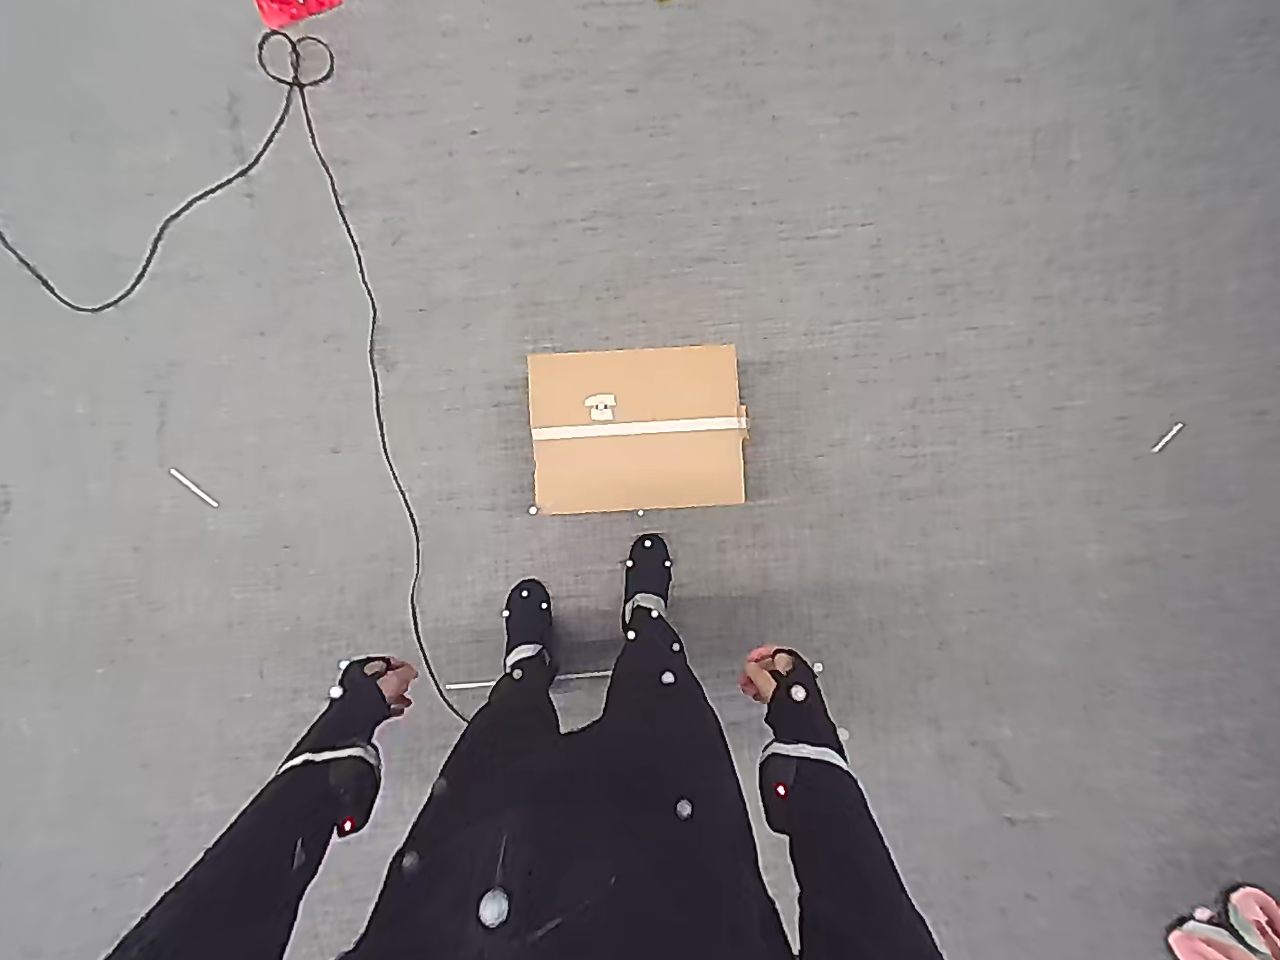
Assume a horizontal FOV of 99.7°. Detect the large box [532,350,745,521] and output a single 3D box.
[{"bbox_3d":[0.000,-0.085,1.198,0.408,0.320,0.320,-3,88,0],"label":"large box"}]
